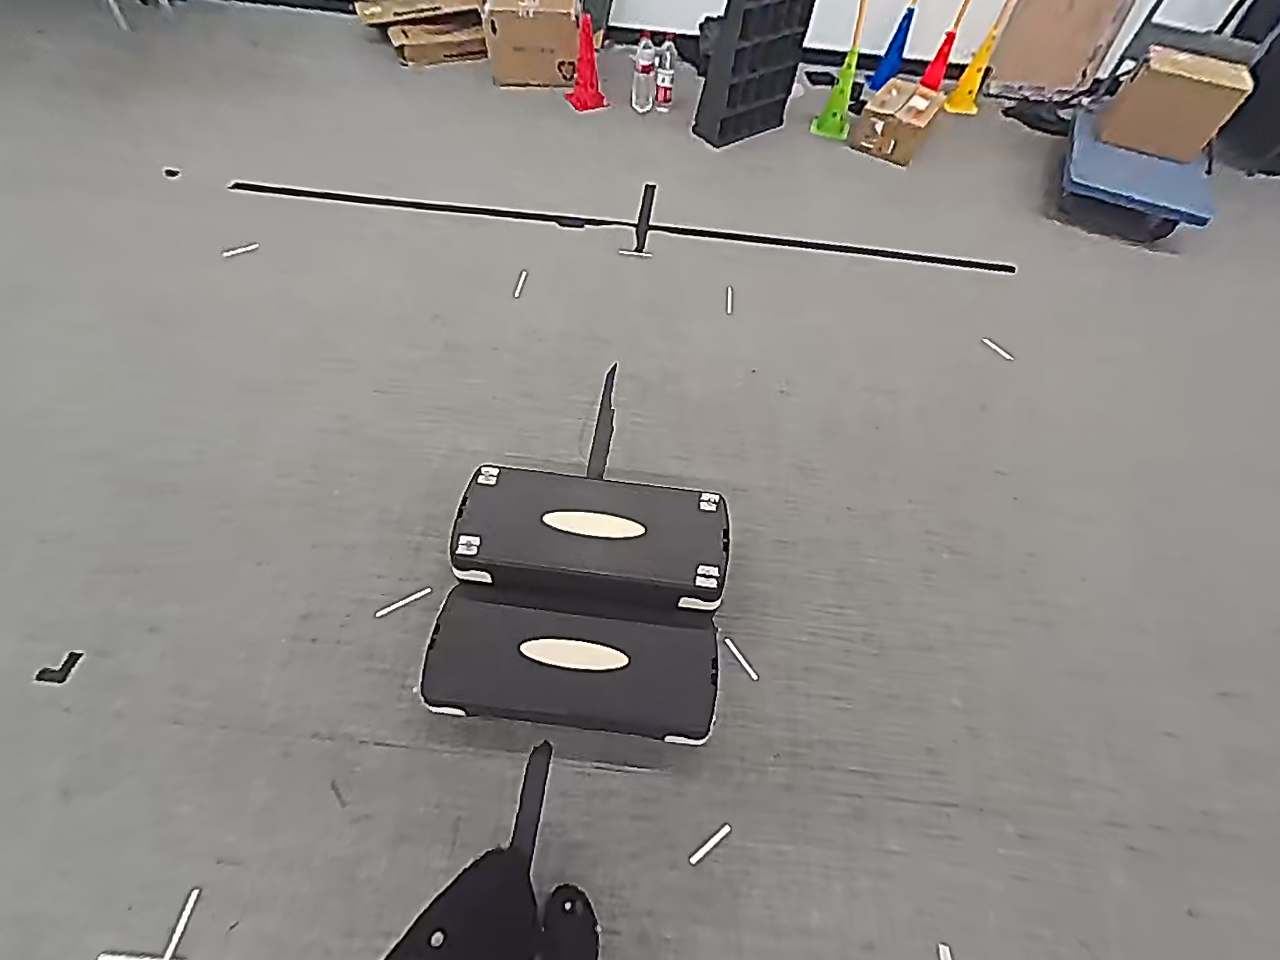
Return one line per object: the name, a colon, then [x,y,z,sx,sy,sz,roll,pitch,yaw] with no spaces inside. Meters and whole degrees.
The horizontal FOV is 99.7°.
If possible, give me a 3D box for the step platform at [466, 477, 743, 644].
step platform: [-0.083,0.202,1.386,0.684,0.204,0.286,11,56,3]
